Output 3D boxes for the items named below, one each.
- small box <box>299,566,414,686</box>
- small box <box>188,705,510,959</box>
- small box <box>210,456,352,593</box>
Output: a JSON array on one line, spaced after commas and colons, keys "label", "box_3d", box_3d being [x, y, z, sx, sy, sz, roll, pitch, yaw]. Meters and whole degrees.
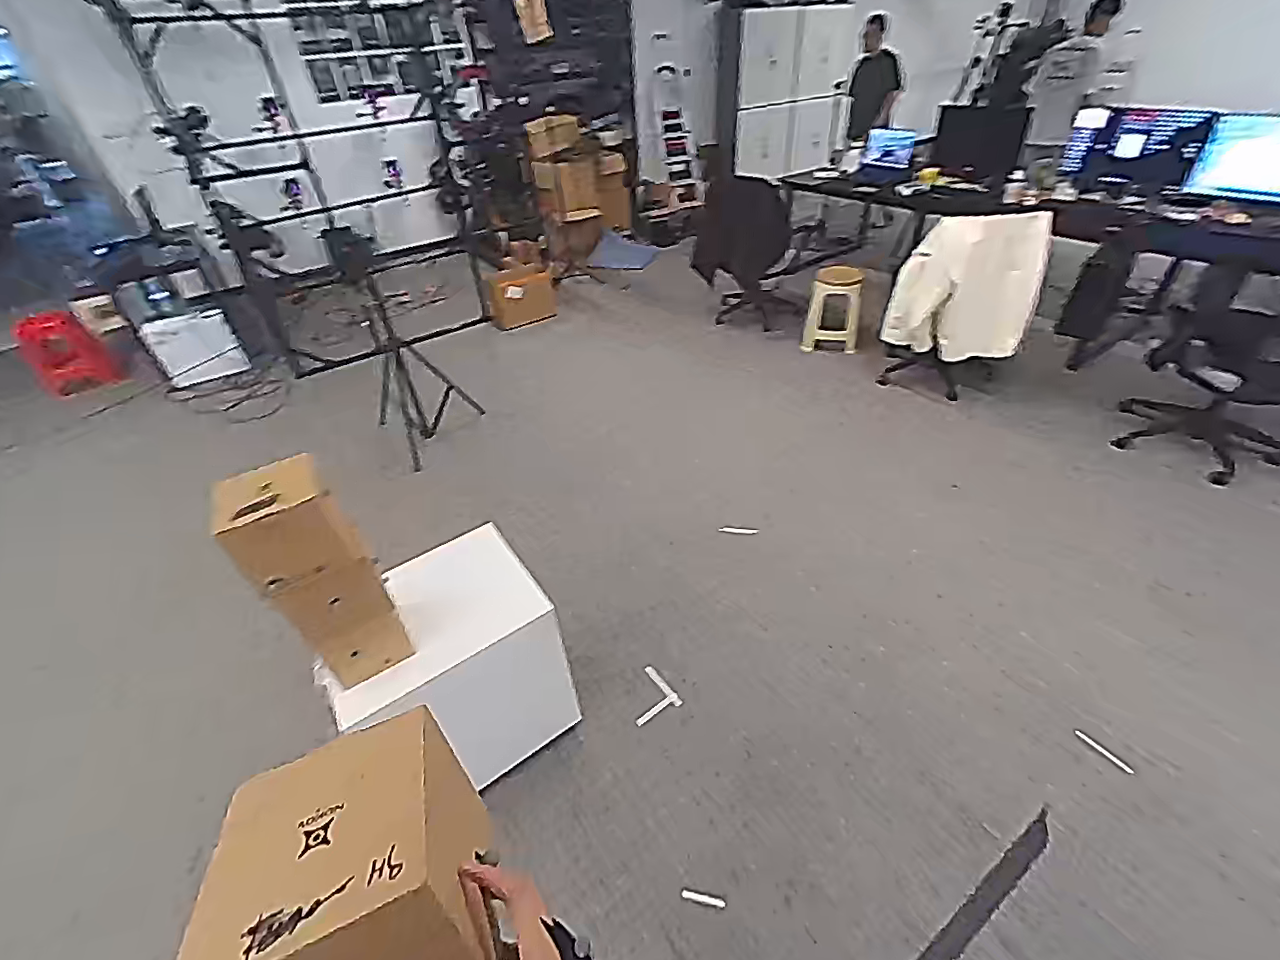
[{"label": "small box", "box_3d": [-0.638, 0.337, 1.227, 0.168, 0.176, 0.179, -26, 43, -24]}, {"label": "small box", "box_3d": [-0.220, 0.338, 0.453, 0.168, 0.176, 0.179, -20, 26, -13]}, {"label": "small box", "box_3d": [-0.664, 0.088, 1.014, 0.168, 0.176, 0.179, -24, 41, -22]}]
